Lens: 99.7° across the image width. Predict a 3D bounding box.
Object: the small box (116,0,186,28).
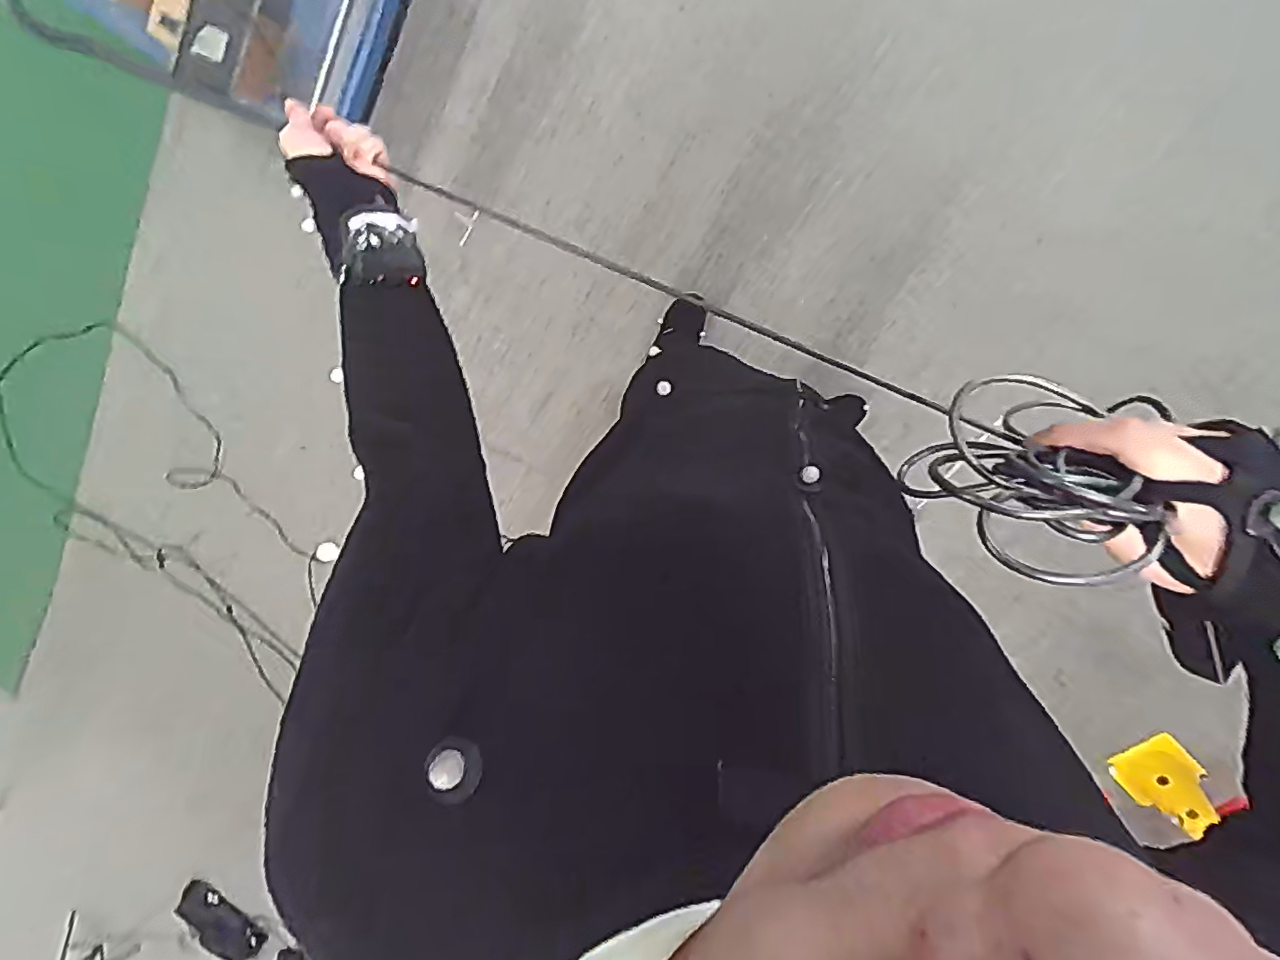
[{"bbox_3d":[-1.213,-1.222,1.277,0.179,0.176,0.168,30,109,1],"label":"small box"}]
